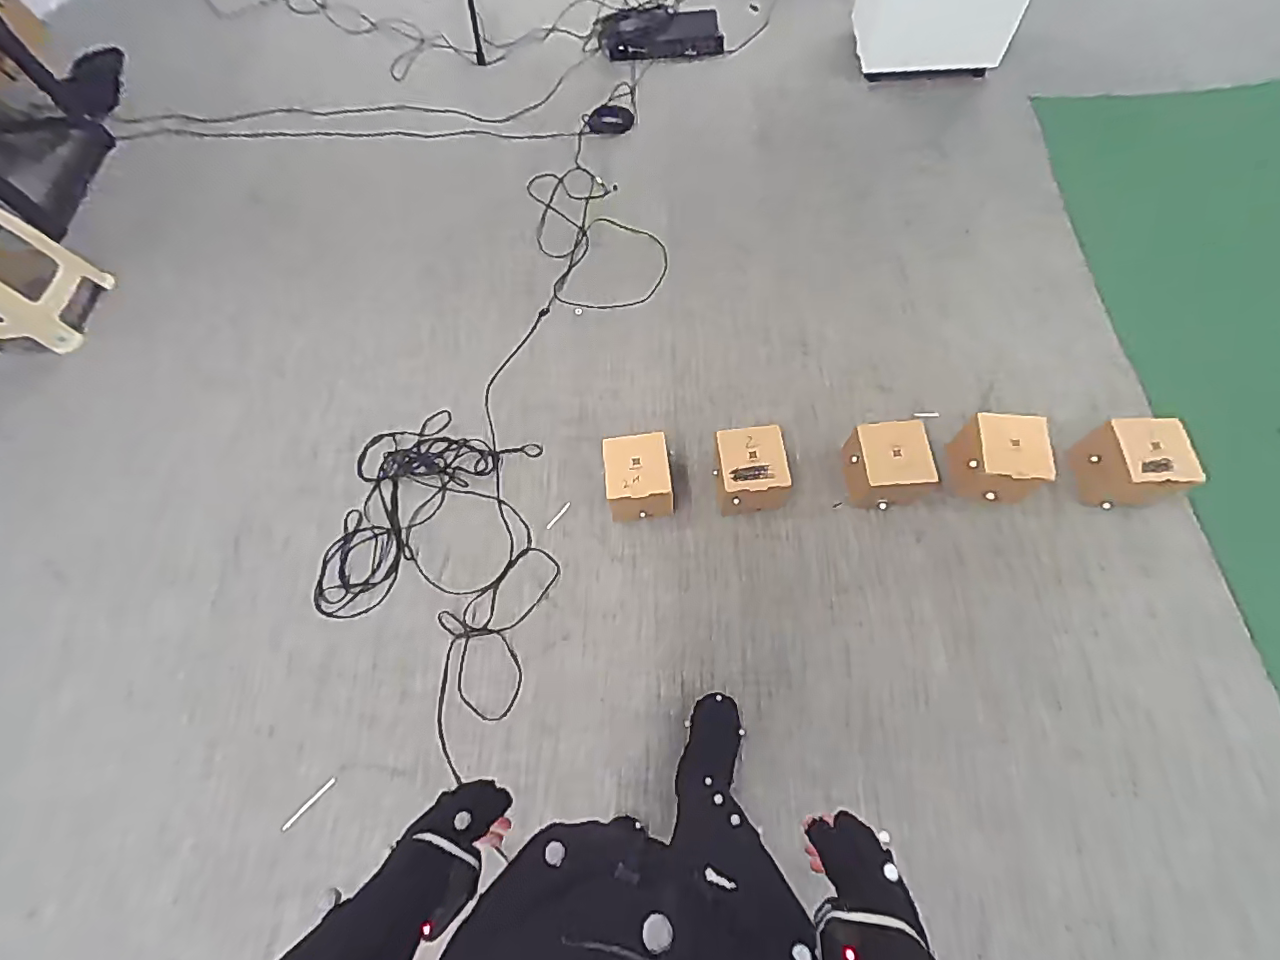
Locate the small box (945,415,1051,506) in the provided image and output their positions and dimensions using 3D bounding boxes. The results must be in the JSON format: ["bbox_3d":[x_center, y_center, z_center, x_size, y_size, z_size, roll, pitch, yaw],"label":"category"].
[{"bbox_3d":[0.922,-0.048,1.412,0.168,0.176,0.179,5,67,6],"label":"small box"}]

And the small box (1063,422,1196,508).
[{"bbox_3d":[1.240,-0.034,1.386,0.168,0.176,0.179,1,66,4],"label":"small box"}]

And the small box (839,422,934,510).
[{"bbox_3d":[0.637,-0.033,1.423,0.168,0.176,0.179,-4,68,4],"label":"small box"}]

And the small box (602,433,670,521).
[{"bbox_3d":[-0.009,-0.005,1.451,0.168,0.176,0.179,-7,66,2],"label":"small box"}]
